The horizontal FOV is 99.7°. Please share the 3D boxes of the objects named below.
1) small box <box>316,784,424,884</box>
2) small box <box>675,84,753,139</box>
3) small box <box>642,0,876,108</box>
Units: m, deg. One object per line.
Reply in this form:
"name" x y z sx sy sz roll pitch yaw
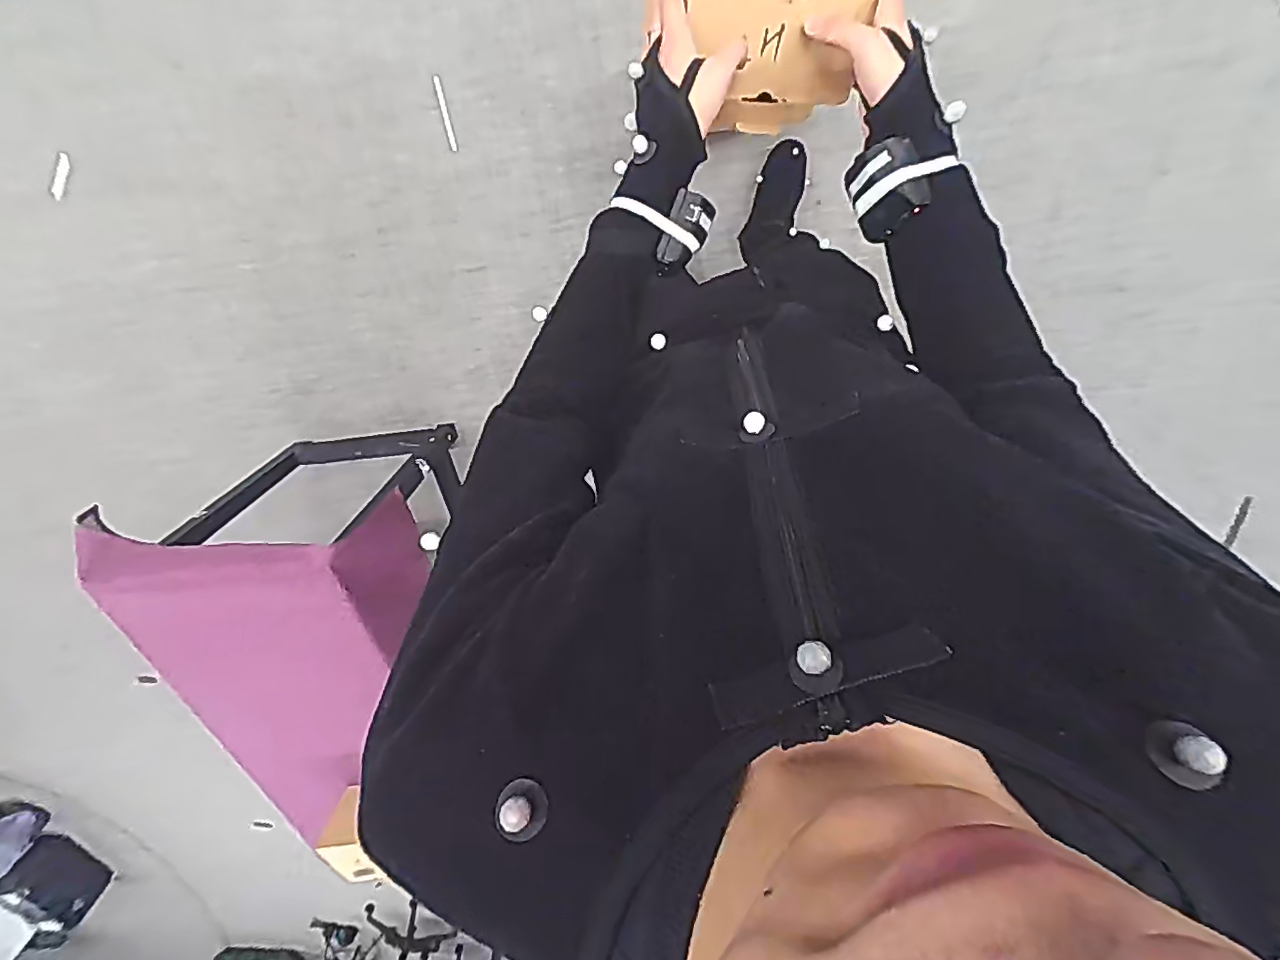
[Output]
"small box" -0.730 0.973 1.488 0.168 0.176 0.179 -15 118 12
"small box" 0.160 -0.859 1.190 0.168 0.176 0.179 -2 120 5
"small box" 0.102 -0.460 0.479 0.168 0.176 0.179 -5 139 -12
